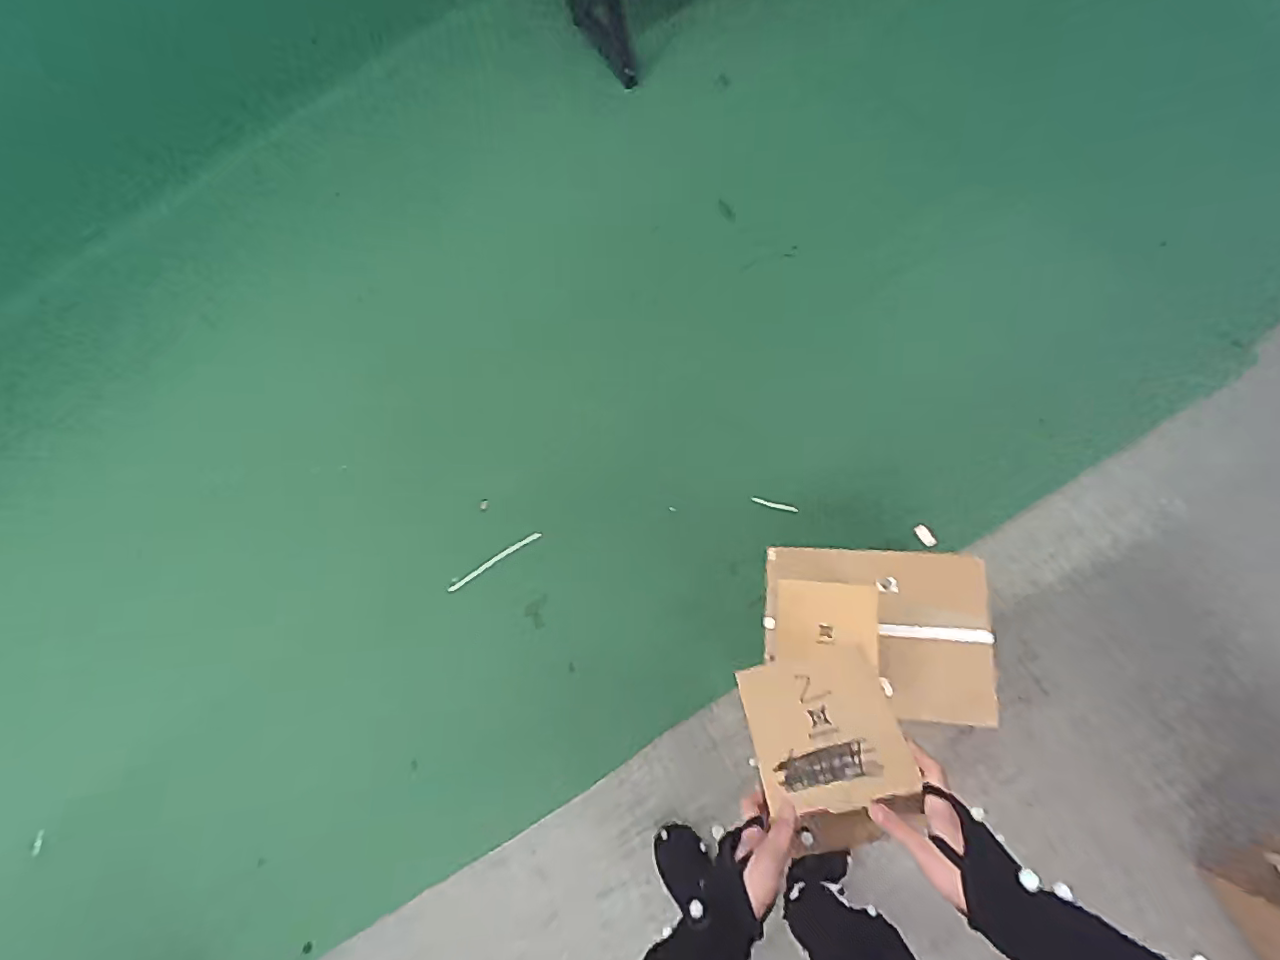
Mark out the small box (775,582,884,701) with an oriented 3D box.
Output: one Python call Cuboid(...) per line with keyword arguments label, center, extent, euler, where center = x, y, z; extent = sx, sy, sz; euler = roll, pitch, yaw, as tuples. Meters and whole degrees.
Cuboid(label="small box", center=(0.333, 0.288, 0.971), extent=(0.168, 0.176, 0.179), euler=(3, 73, 13))
